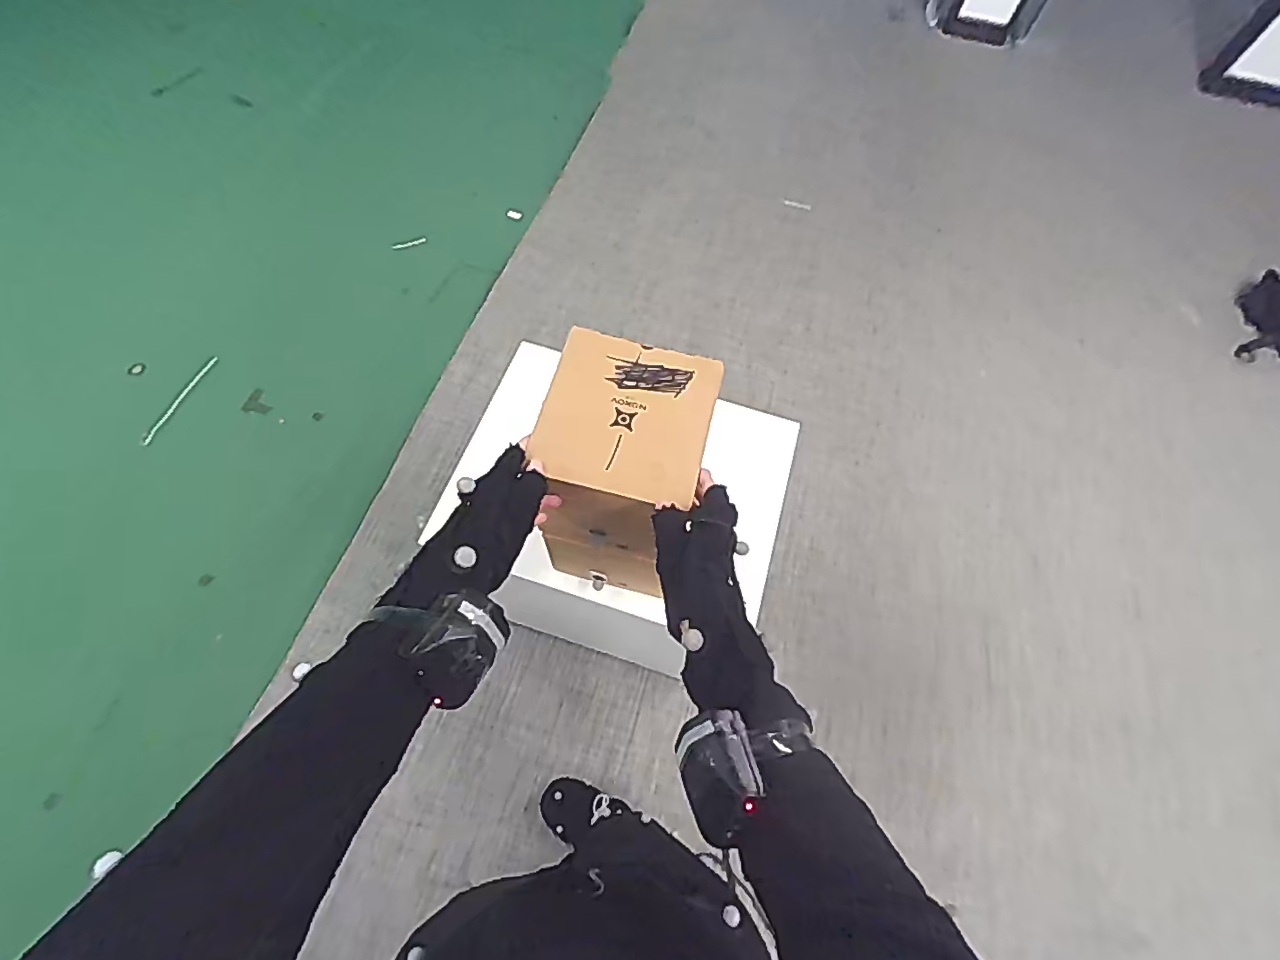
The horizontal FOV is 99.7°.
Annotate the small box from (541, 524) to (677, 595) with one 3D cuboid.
[{"bbox_3d":[-0.024,0.042,0.745,0.168,0.176,0.179,12,66,4],"label":"small box"}]

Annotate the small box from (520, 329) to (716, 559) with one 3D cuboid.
[{"bbox_3d":[-0.020,-0.032,0.598,0.168,0.176,0.179,11,64,3],"label":"small box"}]
